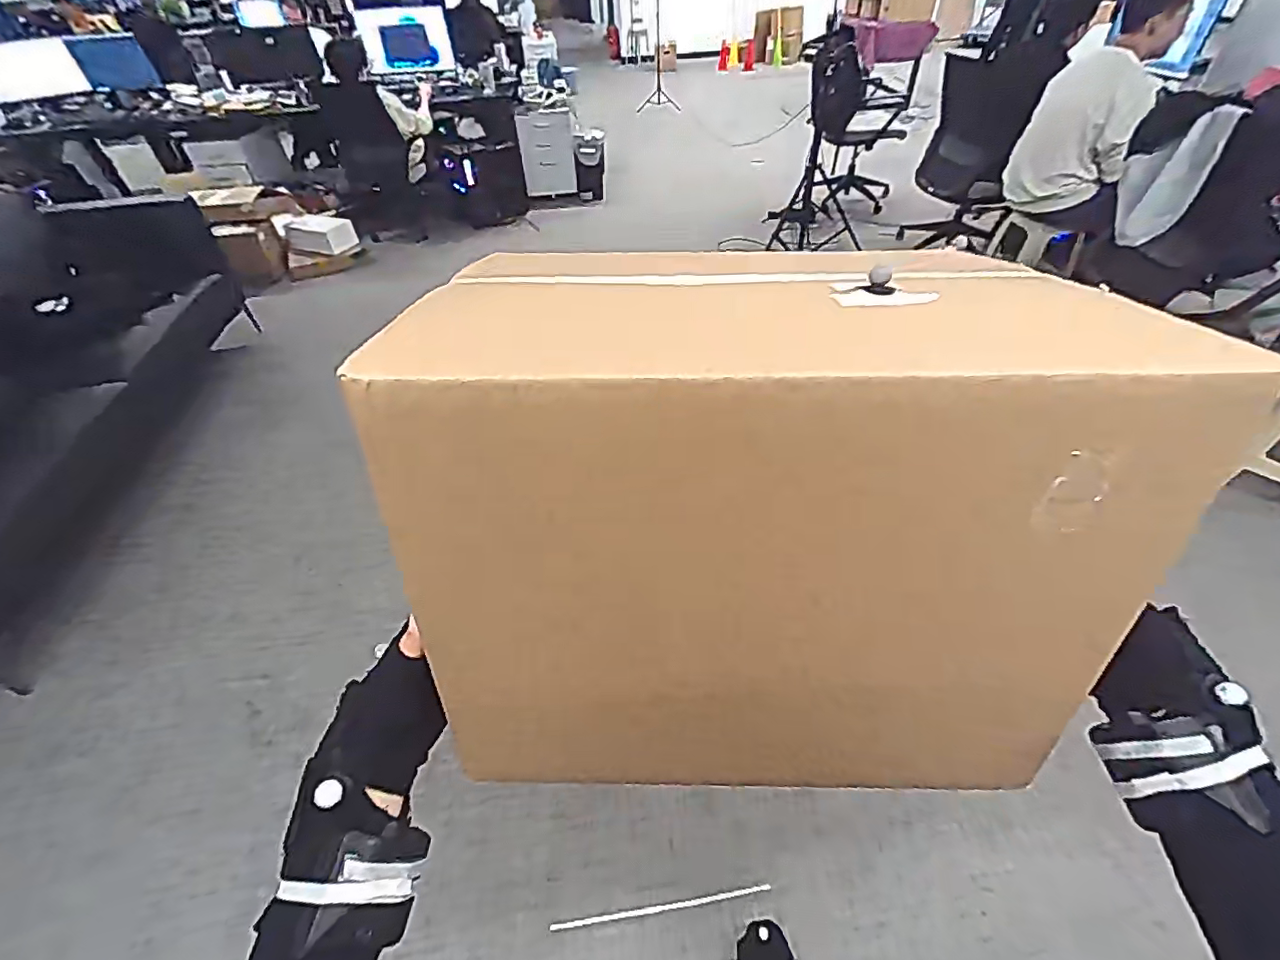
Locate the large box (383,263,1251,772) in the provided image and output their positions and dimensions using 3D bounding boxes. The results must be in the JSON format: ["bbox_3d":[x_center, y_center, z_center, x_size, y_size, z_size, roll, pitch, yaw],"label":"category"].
[{"bbox_3d":[0.079,0.008,0.446,0.408,0.320,0.320,0,32,1],"label":"large box"}]
